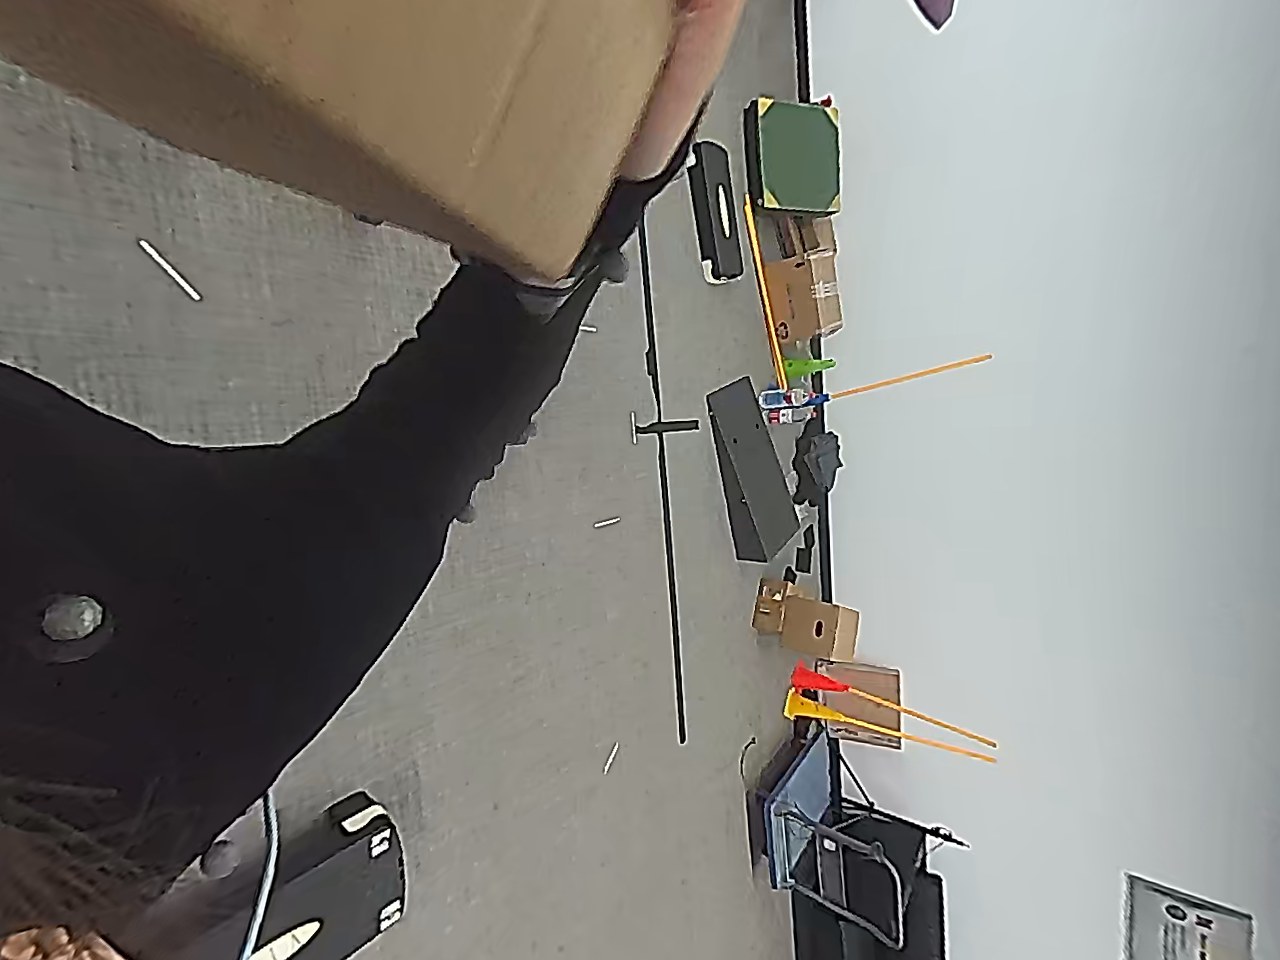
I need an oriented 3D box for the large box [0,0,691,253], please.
[{"bbox_3d":[-0.165,-0.290,0.058,0.408,0.320,0.320,12,103,-63],"label":"large box"}]
